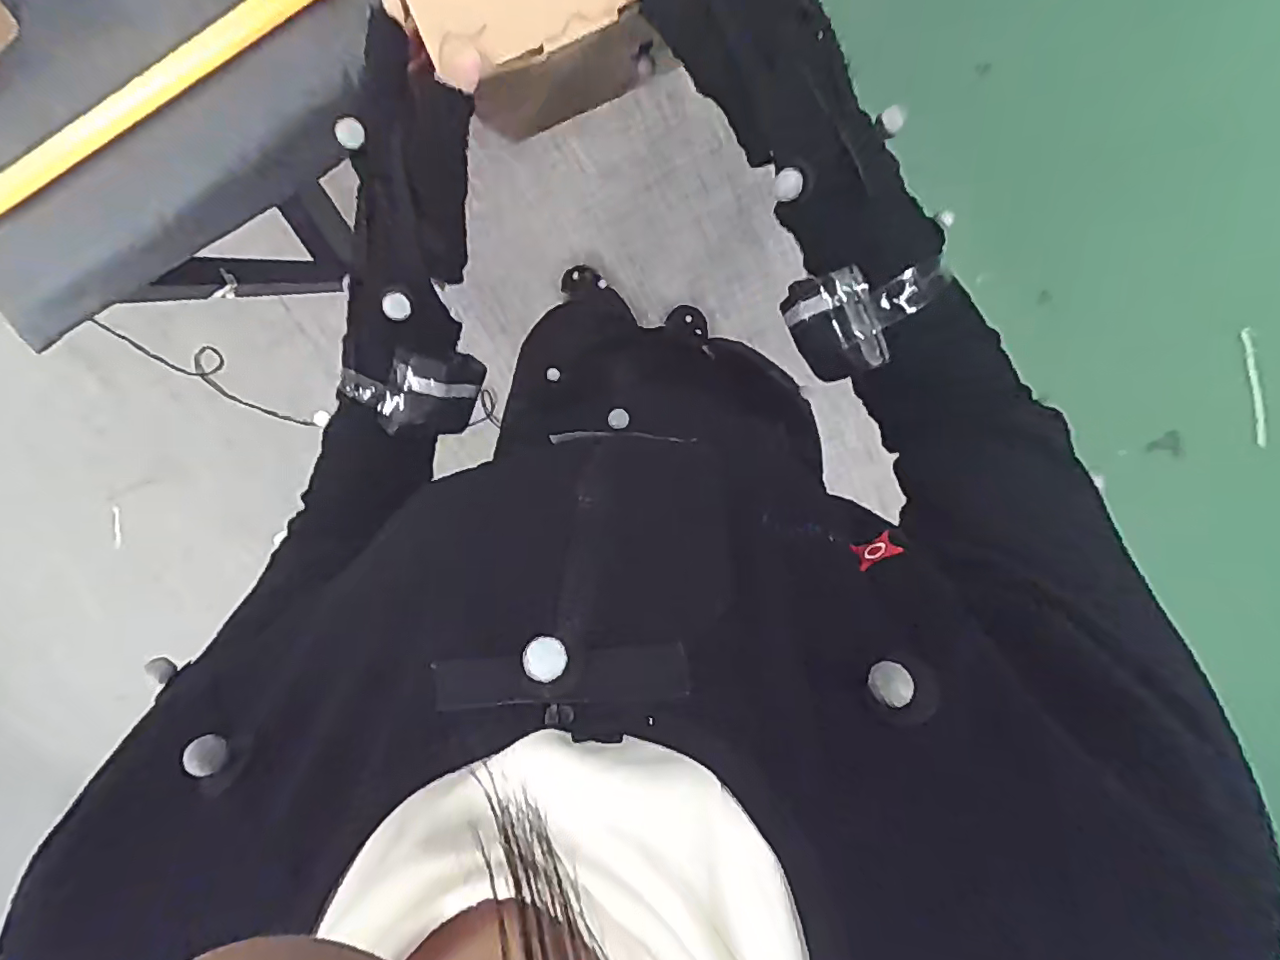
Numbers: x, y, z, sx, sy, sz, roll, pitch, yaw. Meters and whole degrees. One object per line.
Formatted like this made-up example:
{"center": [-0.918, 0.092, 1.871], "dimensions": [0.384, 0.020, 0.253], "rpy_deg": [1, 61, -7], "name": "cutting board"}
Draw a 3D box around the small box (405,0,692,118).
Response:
{"center": [-0.066, -0.356, 0.335], "dimensions": [0.168, 0.176, 0.179], "rpy_deg": [-20, 110, 8], "name": "small box"}
